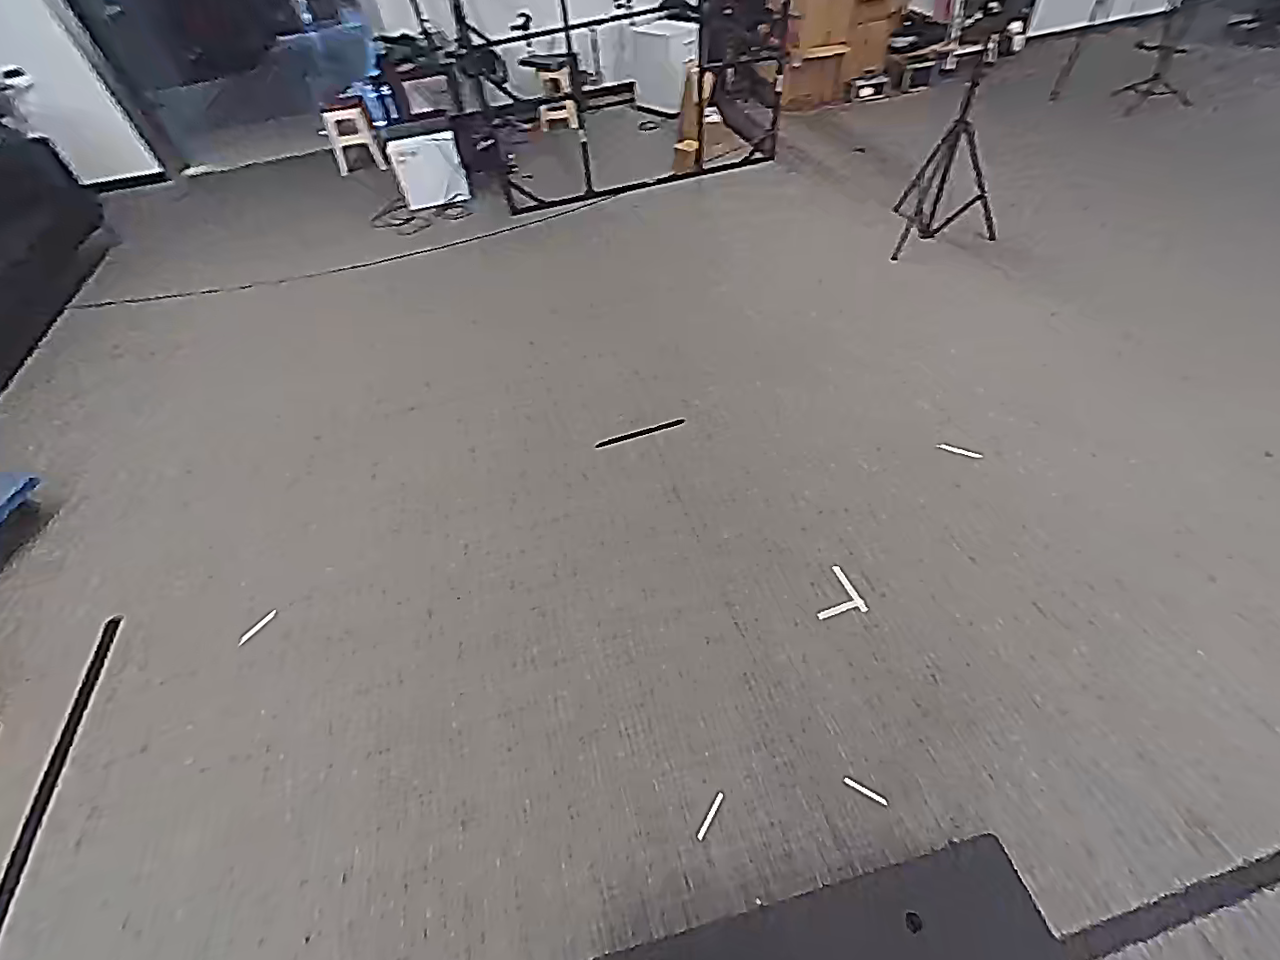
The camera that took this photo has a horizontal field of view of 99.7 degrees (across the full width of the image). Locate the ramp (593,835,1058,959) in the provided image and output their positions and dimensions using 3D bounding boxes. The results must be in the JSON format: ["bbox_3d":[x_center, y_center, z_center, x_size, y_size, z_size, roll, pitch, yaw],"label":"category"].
[{"bbox_3d":[0.403,1.074,1.023,0.991,0.206,0.509,-14,48,-7],"label":"ramp"}]
